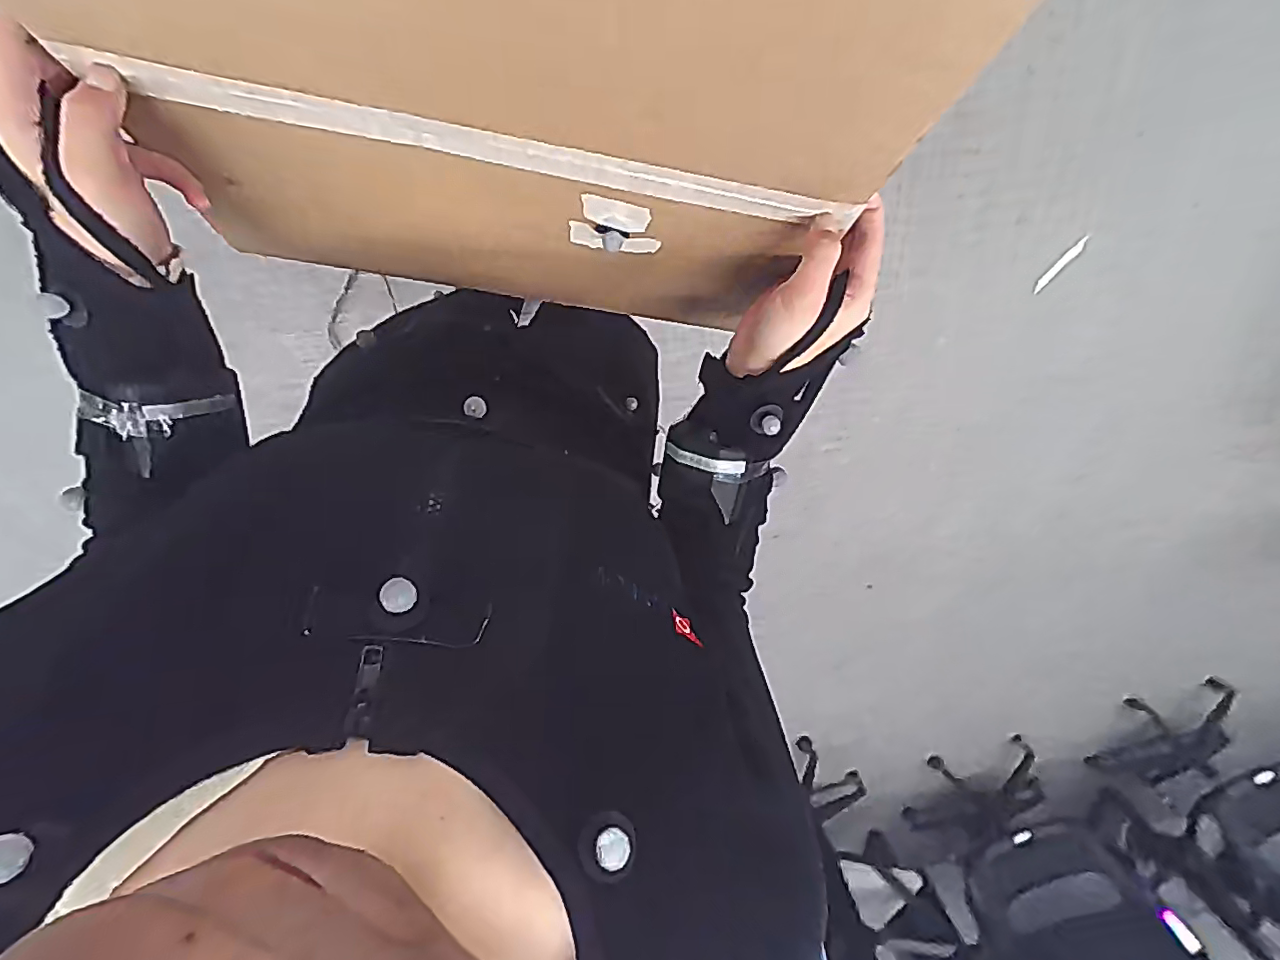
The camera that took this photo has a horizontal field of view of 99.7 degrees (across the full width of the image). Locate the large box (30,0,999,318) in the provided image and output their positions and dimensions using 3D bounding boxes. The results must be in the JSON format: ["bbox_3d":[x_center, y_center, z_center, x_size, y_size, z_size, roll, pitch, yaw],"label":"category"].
[{"bbox_3d":[-0.065,-0.330,0.318,0.408,0.320,0.320,5,80,-9],"label":"large box"}]
